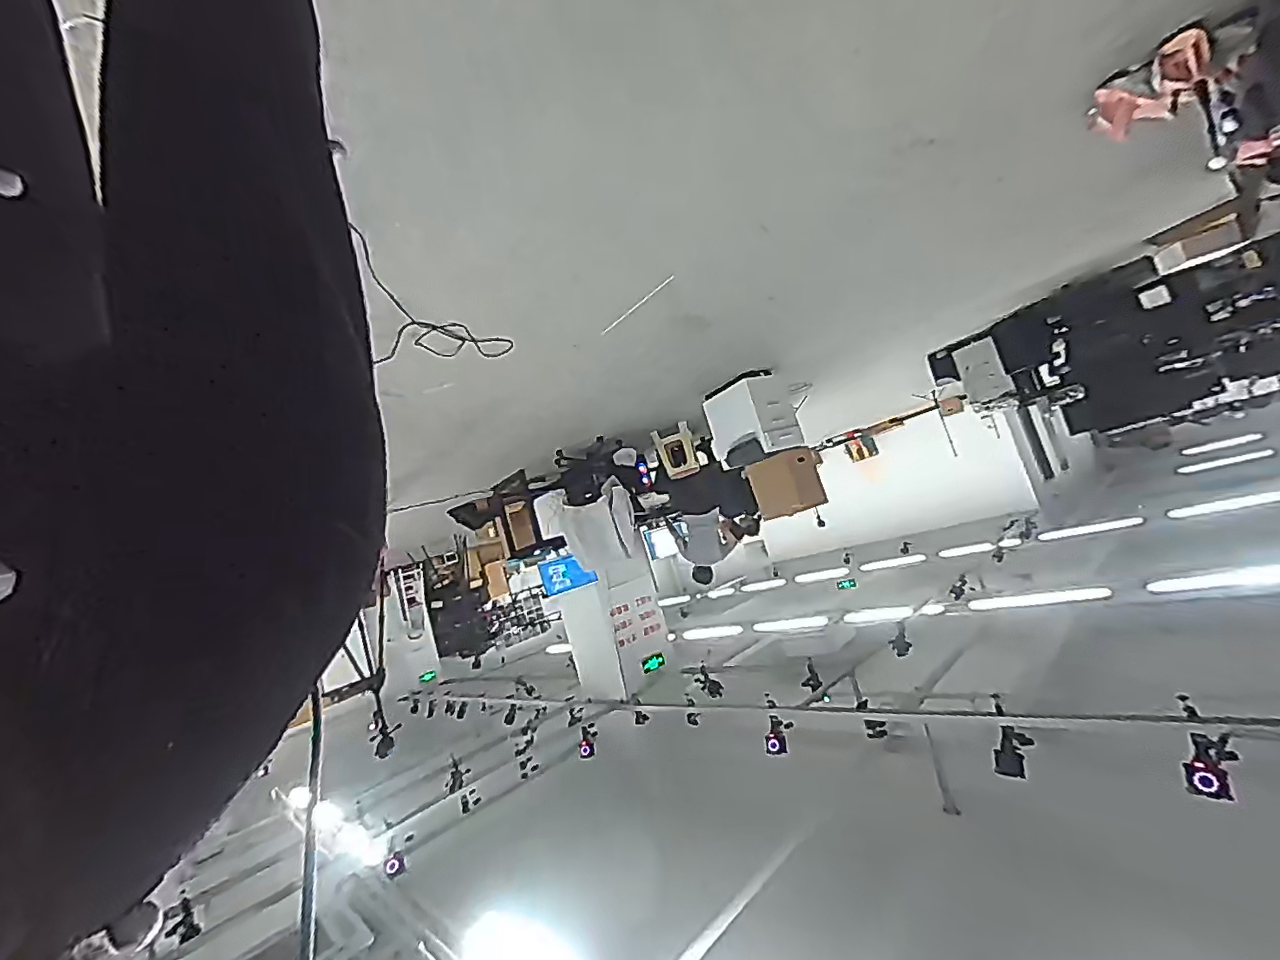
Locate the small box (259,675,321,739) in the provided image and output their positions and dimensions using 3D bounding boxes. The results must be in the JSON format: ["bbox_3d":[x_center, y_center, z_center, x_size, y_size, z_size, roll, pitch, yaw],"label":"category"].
[{"bbox_3d":[-1.303,0.835,2.015,0.168,0.176,0.179,-12,172,-33],"label":"small box"}]
